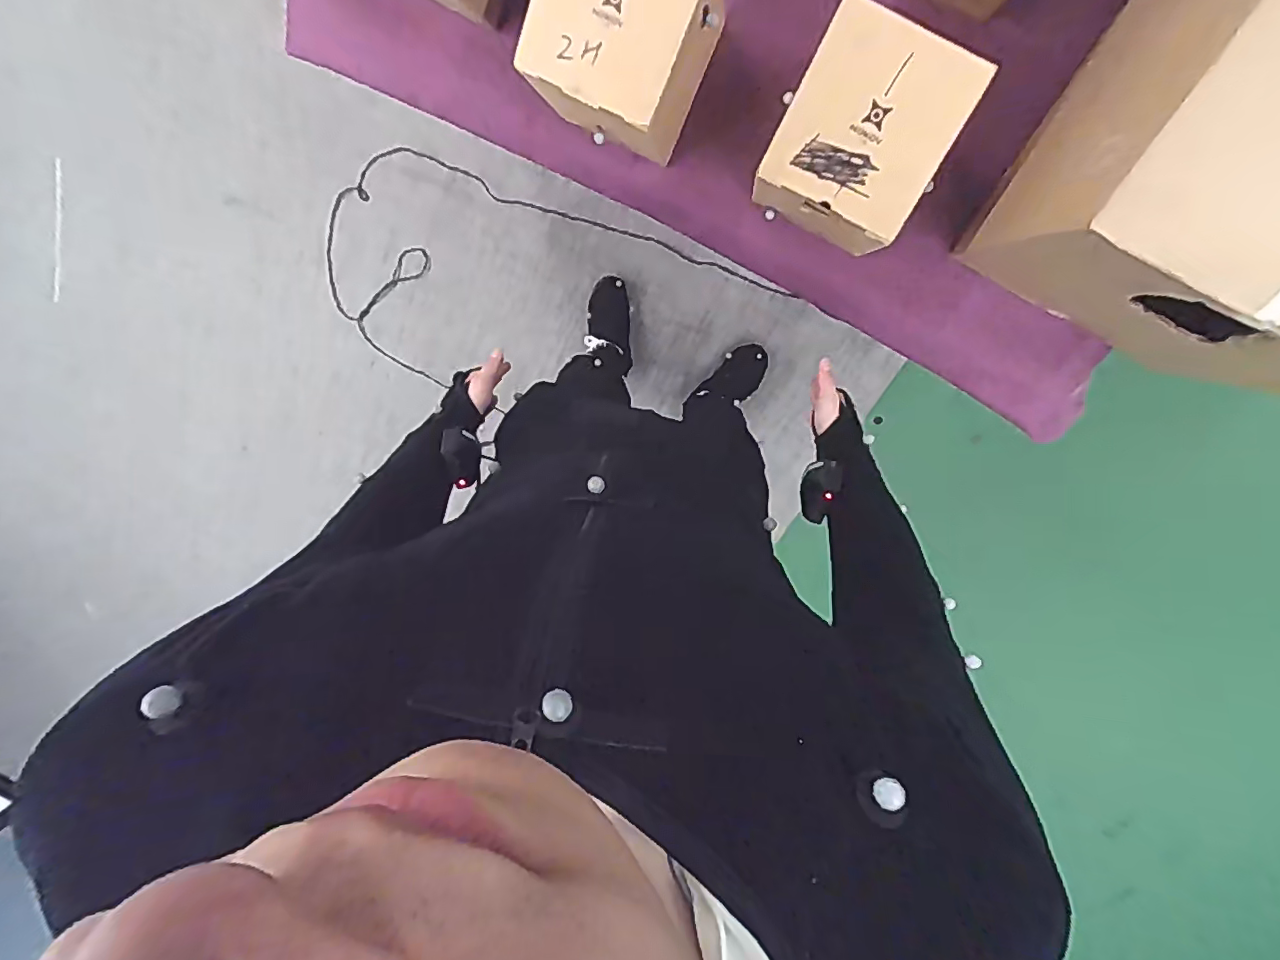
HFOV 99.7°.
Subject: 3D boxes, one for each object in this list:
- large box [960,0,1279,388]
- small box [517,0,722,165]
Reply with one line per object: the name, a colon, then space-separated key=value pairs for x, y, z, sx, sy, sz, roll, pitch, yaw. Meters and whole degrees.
large box: x=0.608 y=-0.337 z=0.503 sx=0.320 sy=0.320 sz=0.408 roll=29 pitch=112 yaw=1
small box: x=-0.014 y=-0.503 z=0.626 sx=0.168 sy=0.176 sz=0.179 roll=26 pitch=111 yaw=1
